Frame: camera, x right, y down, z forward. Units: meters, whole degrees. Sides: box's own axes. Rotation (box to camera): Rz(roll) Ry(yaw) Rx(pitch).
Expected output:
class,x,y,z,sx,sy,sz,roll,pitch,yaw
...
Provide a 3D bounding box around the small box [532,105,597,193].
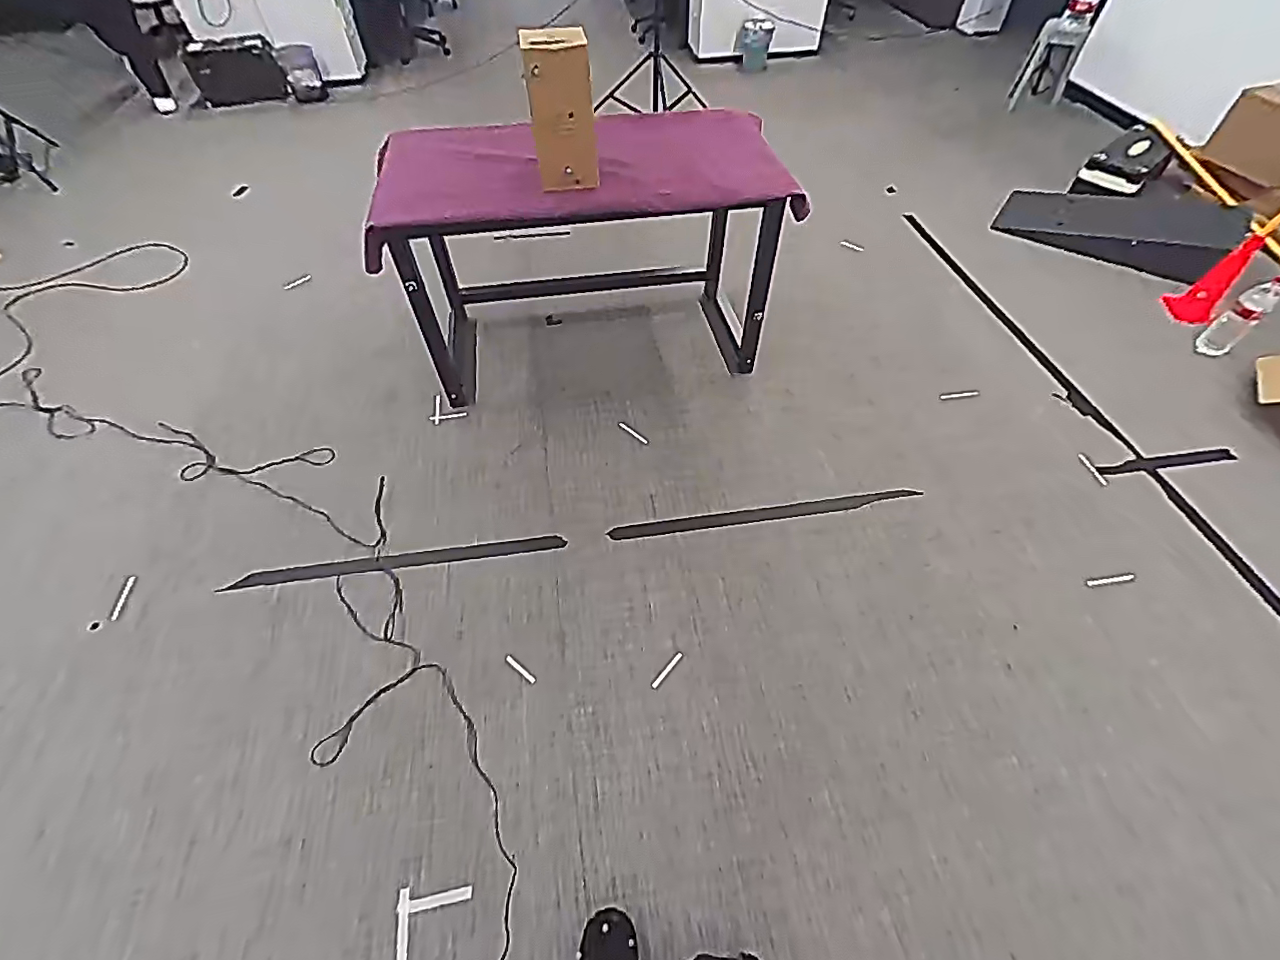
class,x,y,z,sx,sy,sz,roll,pitch,yaw
small box,-0.215,-0.951,1.554,0.168,0.176,0.179,-6,52,-4
